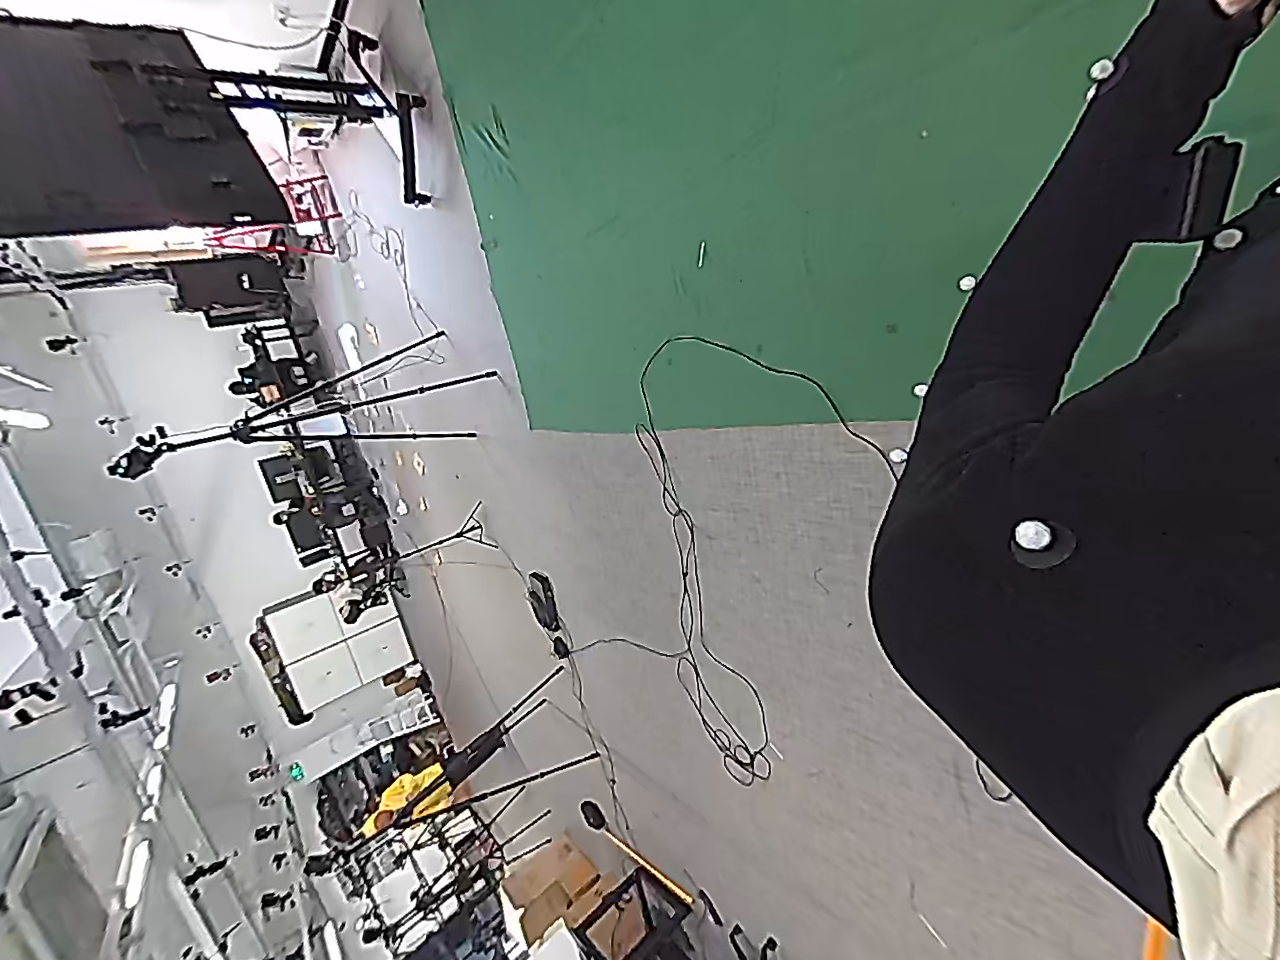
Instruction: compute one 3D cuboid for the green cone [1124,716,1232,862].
[{"bbox_3d":[1.277,0.789,1.322,0.202,0.368,0.200,5,112,52],"label":"green cone"}]
